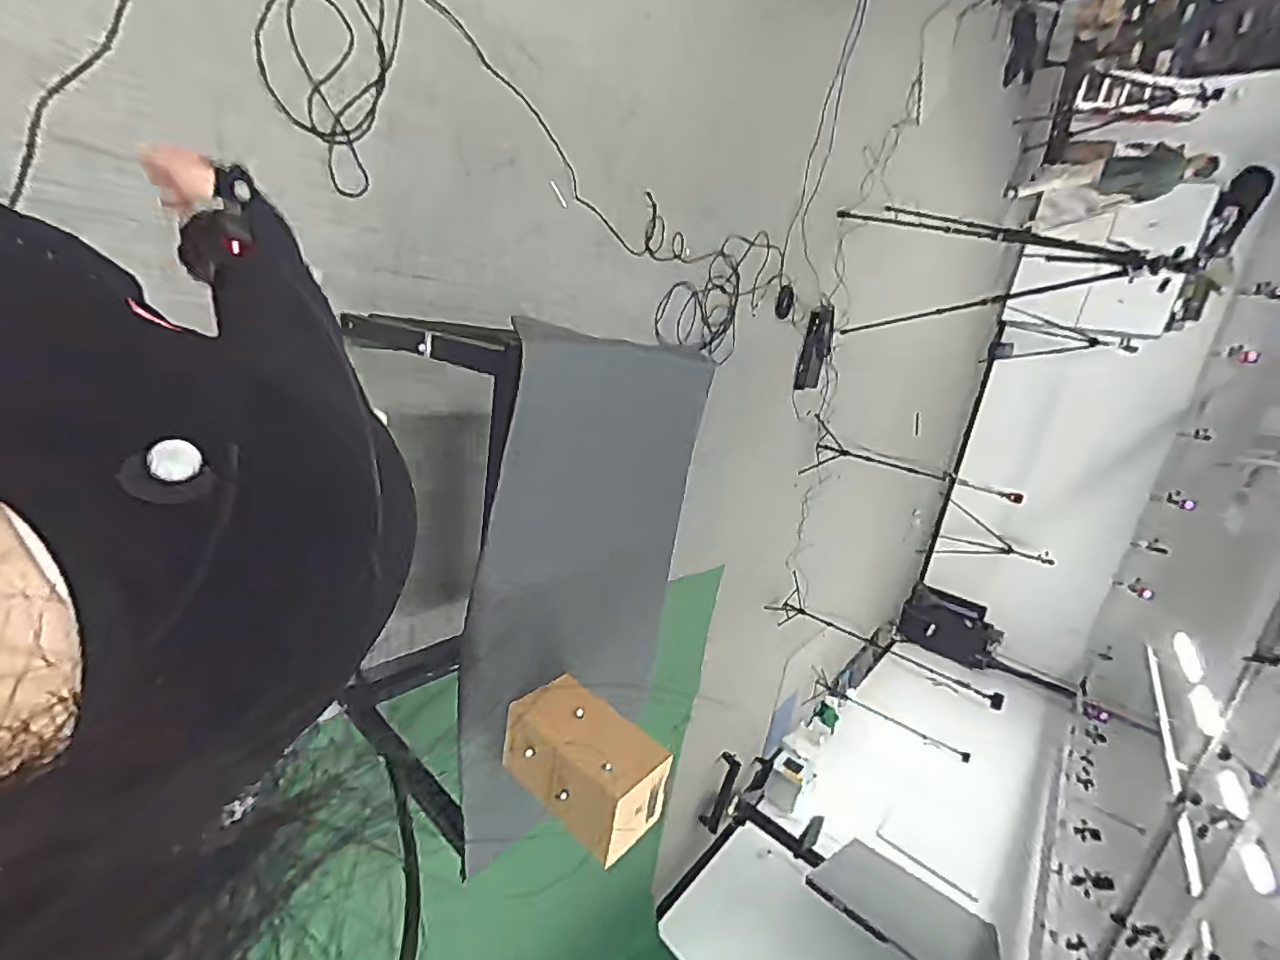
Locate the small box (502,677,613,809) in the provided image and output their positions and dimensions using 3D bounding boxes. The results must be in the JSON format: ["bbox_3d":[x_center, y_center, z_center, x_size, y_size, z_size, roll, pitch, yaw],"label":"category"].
[{"bbox_3d":[-0.187,0.575,1.208,0.179,0.176,0.168,-10,114,-51],"label":"small box"}]
